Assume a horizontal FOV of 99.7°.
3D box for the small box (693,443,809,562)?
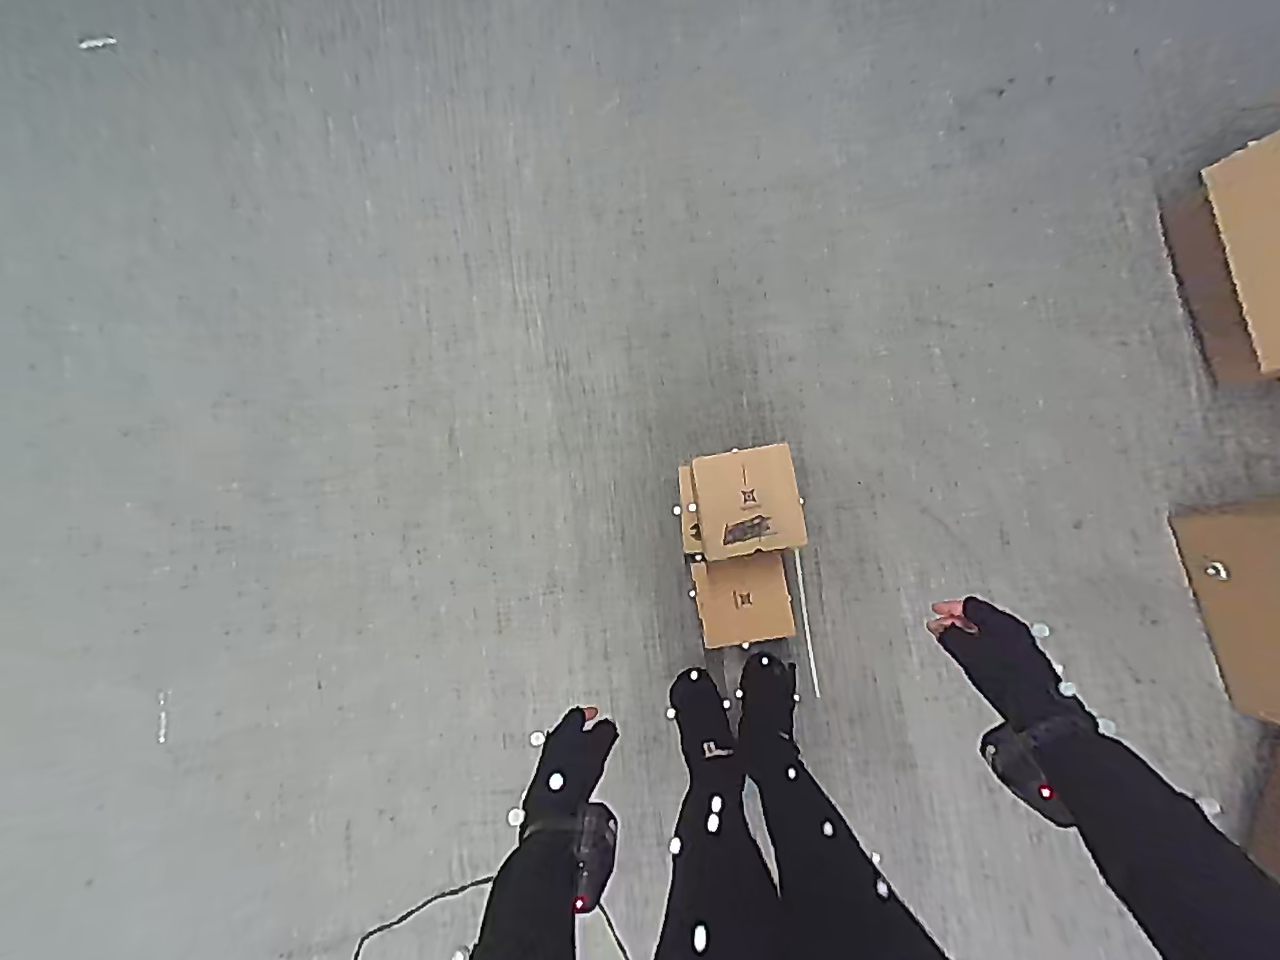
[{"bbox_3d":[0.189,0.043,0.962,0.168,0.176,0.179,-9,83,4],"label":"small box"}]
